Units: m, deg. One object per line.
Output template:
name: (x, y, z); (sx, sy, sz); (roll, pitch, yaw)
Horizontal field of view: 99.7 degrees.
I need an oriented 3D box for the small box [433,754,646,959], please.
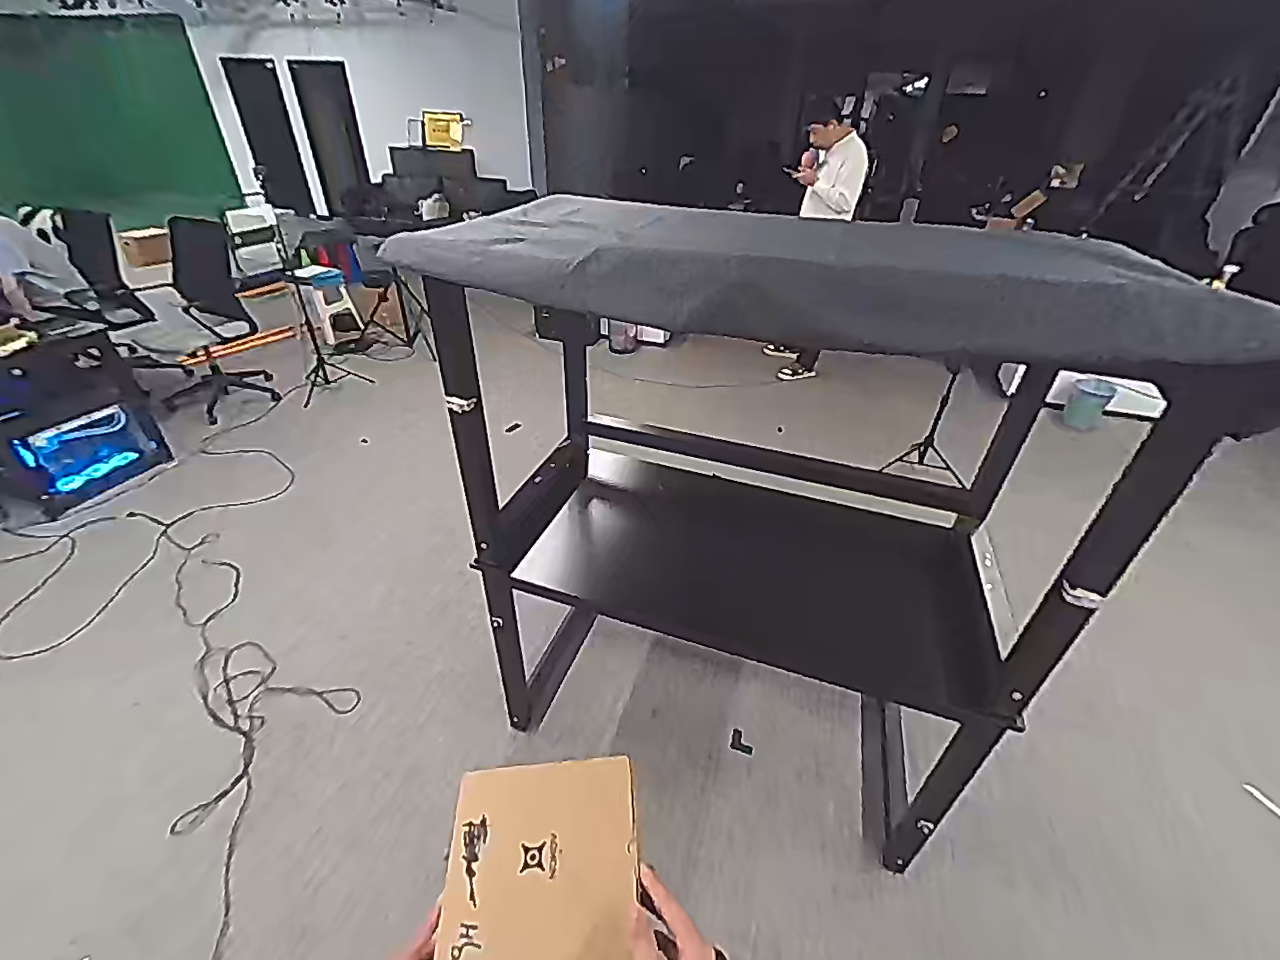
small box: (-0.086, 0.402, 0.549); (0.179, 0.176, 0.168); (-5, 41, -2)
